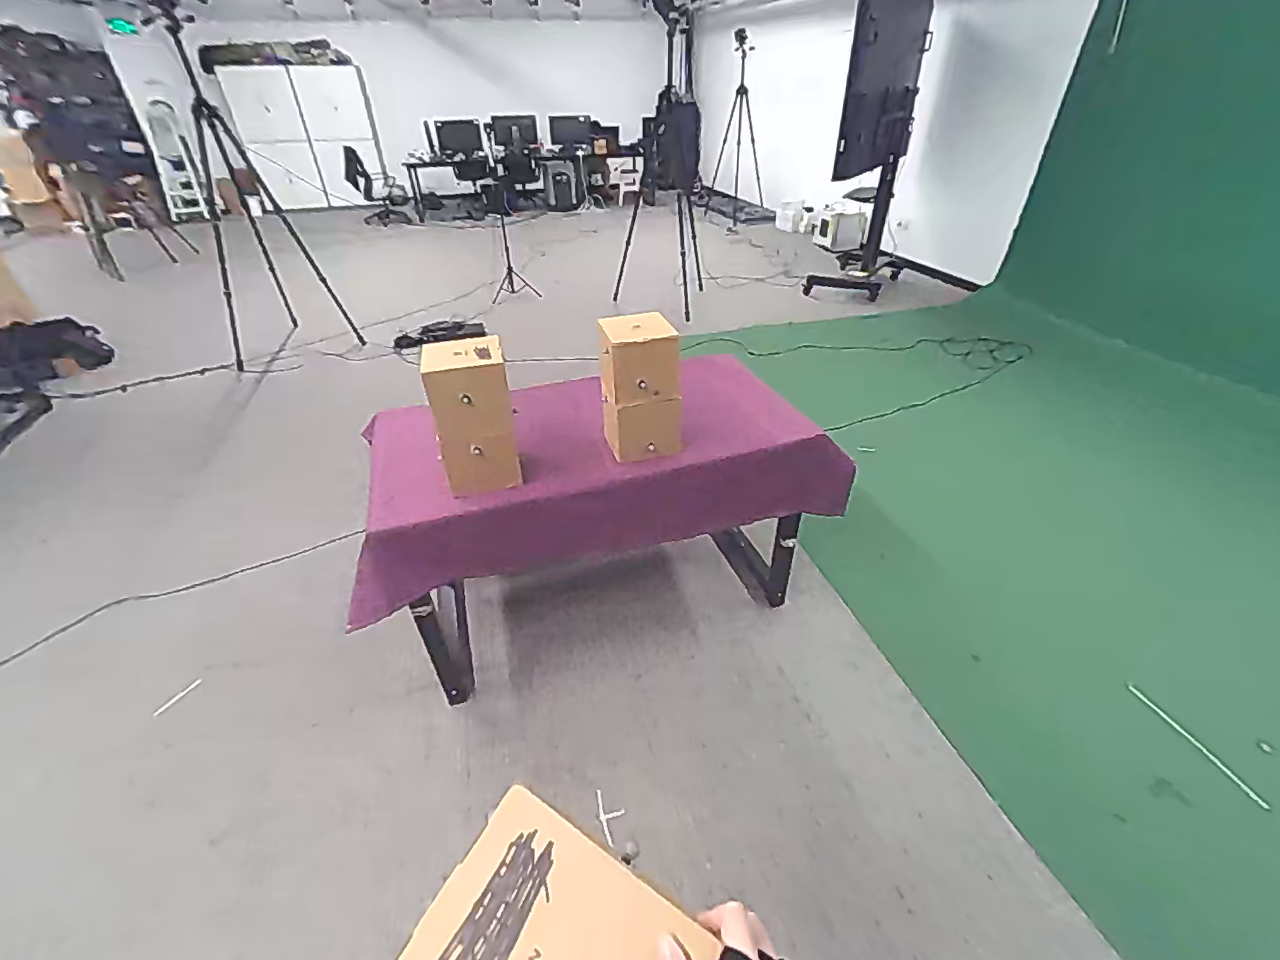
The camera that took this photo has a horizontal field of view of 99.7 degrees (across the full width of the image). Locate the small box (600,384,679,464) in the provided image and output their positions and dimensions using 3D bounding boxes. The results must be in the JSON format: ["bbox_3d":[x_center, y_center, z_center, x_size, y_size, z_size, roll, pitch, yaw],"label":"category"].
[{"bbox_3d":[-0.006,-0.162,1.457,0.179,0.176,0.168,-10,36,-13],"label":"small box"}]

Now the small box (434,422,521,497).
[{"bbox_3d":[-0.404,-0.075,1.349,0.179,0.176,0.168,-10,37,-12],"label":"small box"}]

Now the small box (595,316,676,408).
[{"bbox_3d":[-0.014,-0.300,1.369,0.168,0.176,0.179,-11,38,-12],"label":"small box"}]

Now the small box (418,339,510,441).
[{"bbox_3d":[-0.402,-0.210,1.256,0.179,0.176,0.168,-11,38,-12],"label":"small box"}]
